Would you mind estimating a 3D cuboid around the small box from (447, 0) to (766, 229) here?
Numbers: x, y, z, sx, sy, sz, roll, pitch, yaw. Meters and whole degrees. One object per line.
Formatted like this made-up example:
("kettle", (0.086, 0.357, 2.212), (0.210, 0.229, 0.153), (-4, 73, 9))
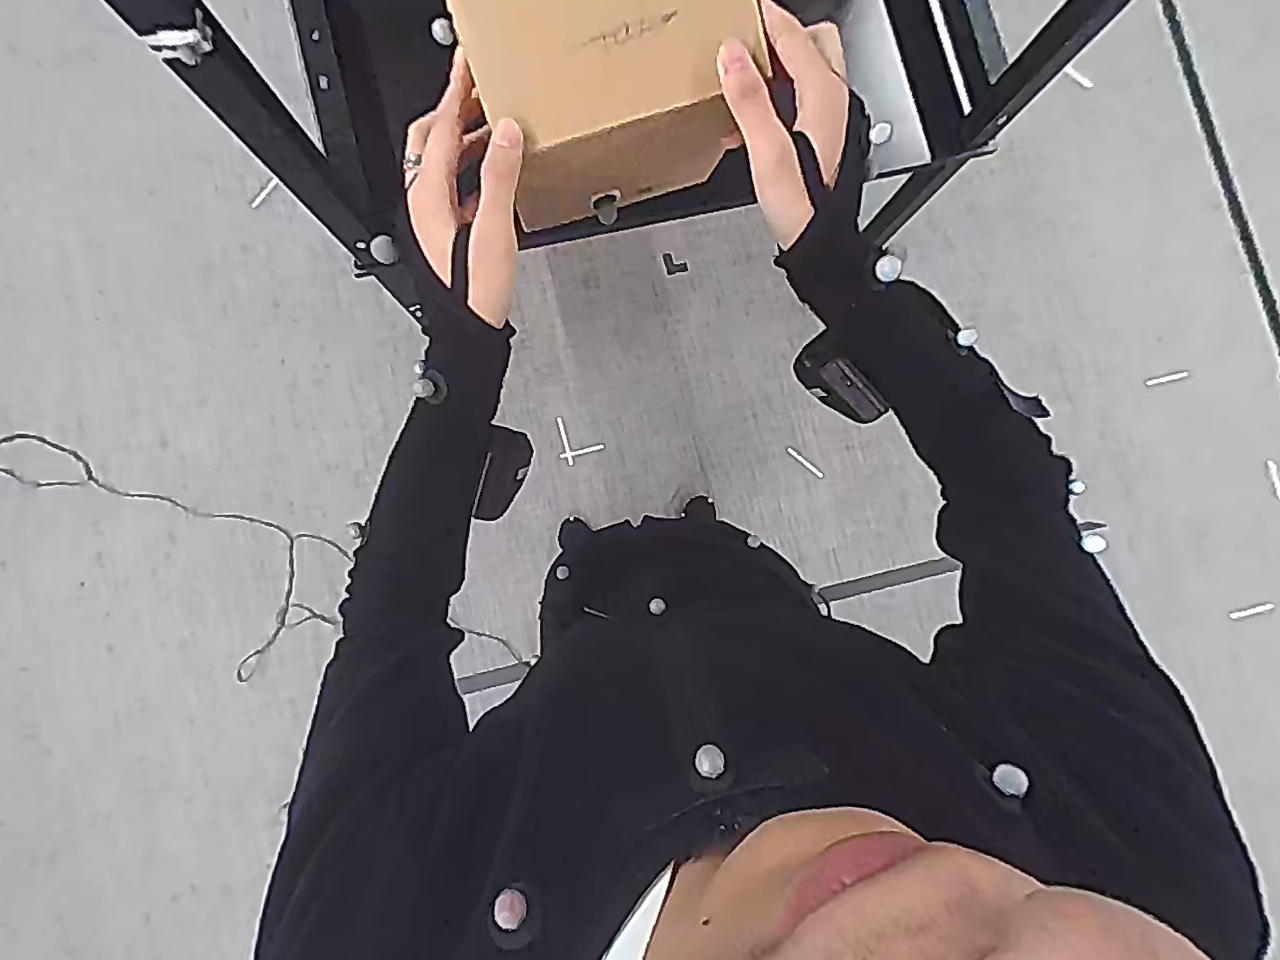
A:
("small box", (-0.037, -0.301, 0.369), (0.168, 0.176, 0.179), (-18, 102, -2))
